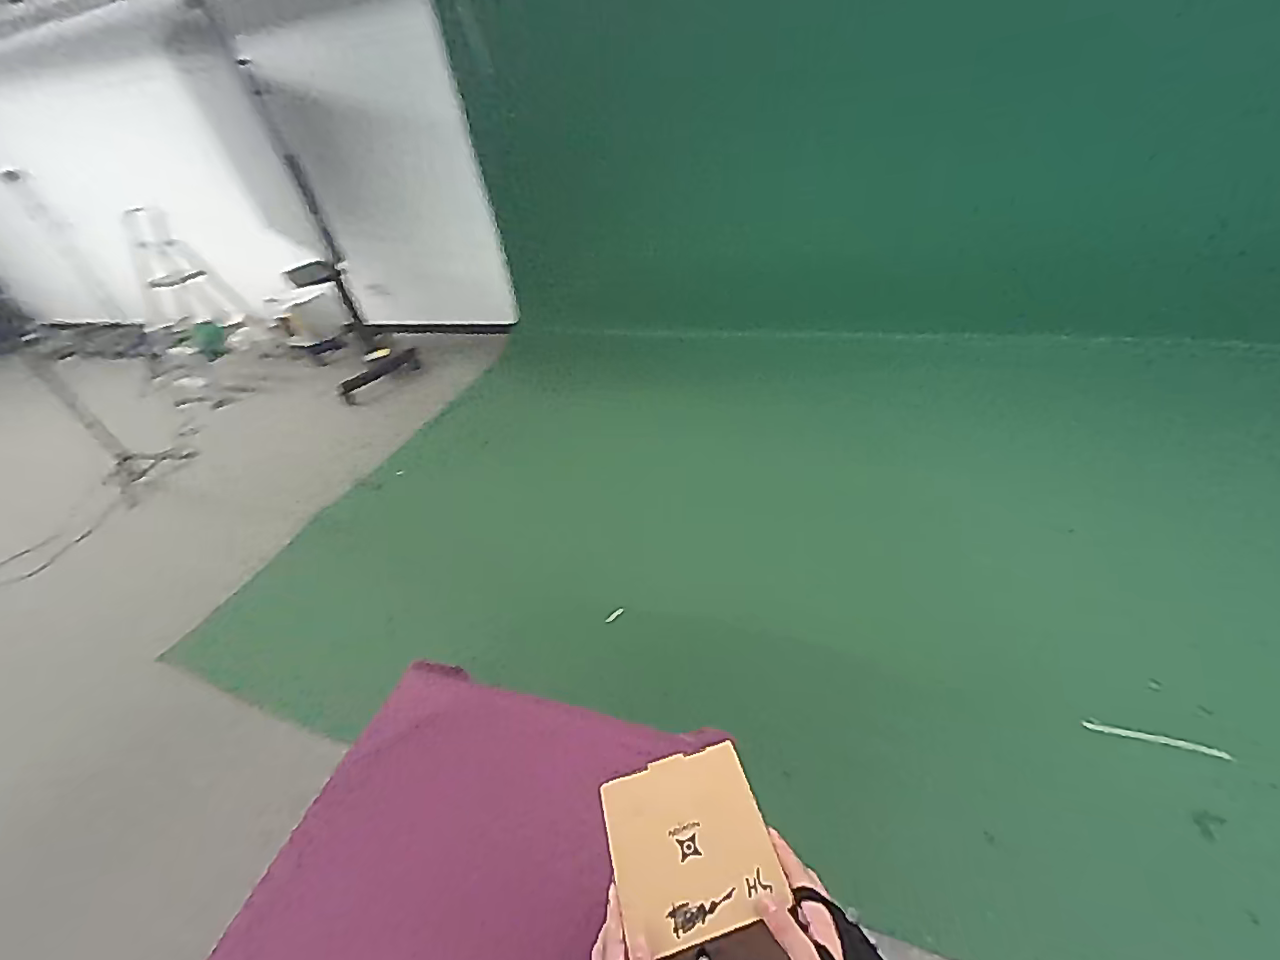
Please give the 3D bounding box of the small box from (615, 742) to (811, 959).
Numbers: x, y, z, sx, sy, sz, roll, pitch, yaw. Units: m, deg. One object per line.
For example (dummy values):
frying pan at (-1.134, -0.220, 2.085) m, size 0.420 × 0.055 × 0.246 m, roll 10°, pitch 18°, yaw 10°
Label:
small box at (0.079, 0.441, 0.611) m, size 0.168 × 0.176 × 0.179 m, roll -16°, pitch 33°, yaw -3°
